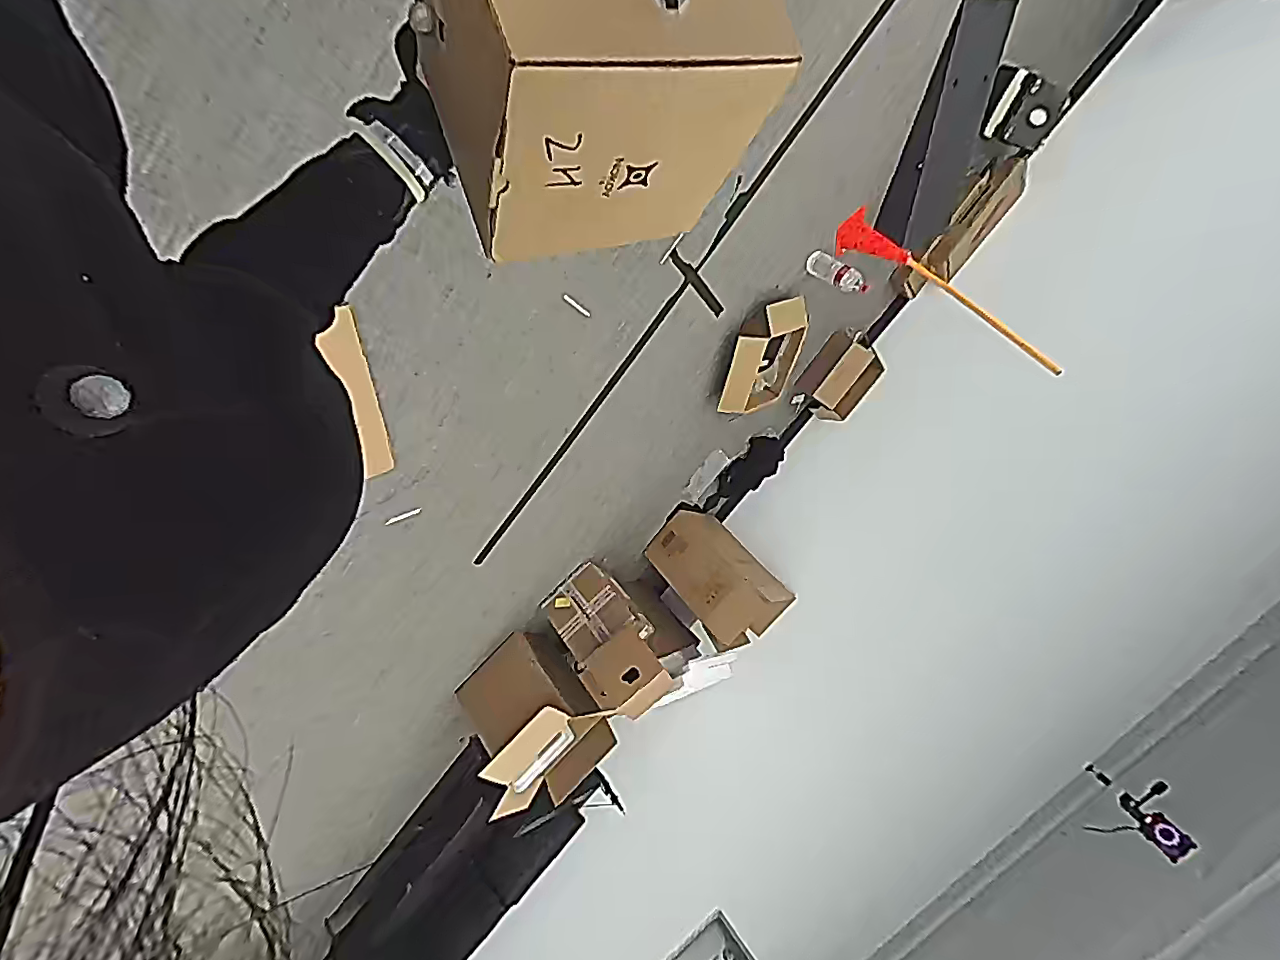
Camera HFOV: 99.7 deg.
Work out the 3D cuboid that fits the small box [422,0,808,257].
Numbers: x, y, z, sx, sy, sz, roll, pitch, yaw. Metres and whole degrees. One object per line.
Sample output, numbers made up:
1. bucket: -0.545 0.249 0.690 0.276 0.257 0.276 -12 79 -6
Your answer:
1. small box: -0.030 -0.280 0.358 0.179 0.176 0.168 -18 176 -22
